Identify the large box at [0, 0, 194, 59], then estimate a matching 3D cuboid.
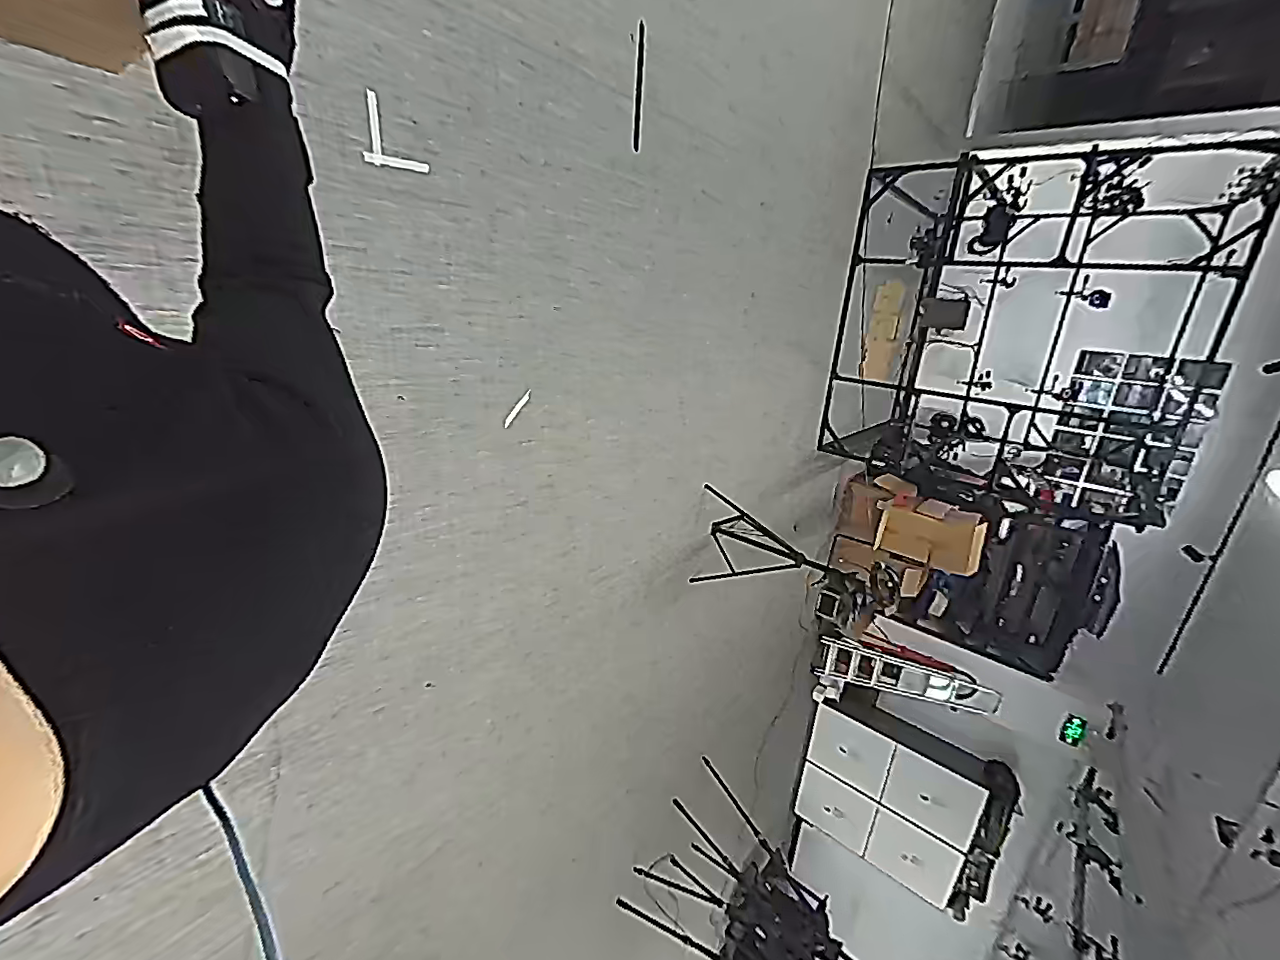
[{"bbox_3d":[-0.538,-0.499,0.279,0.408,0.320,0.320,-13,119,-50],"label":"large box"}]
